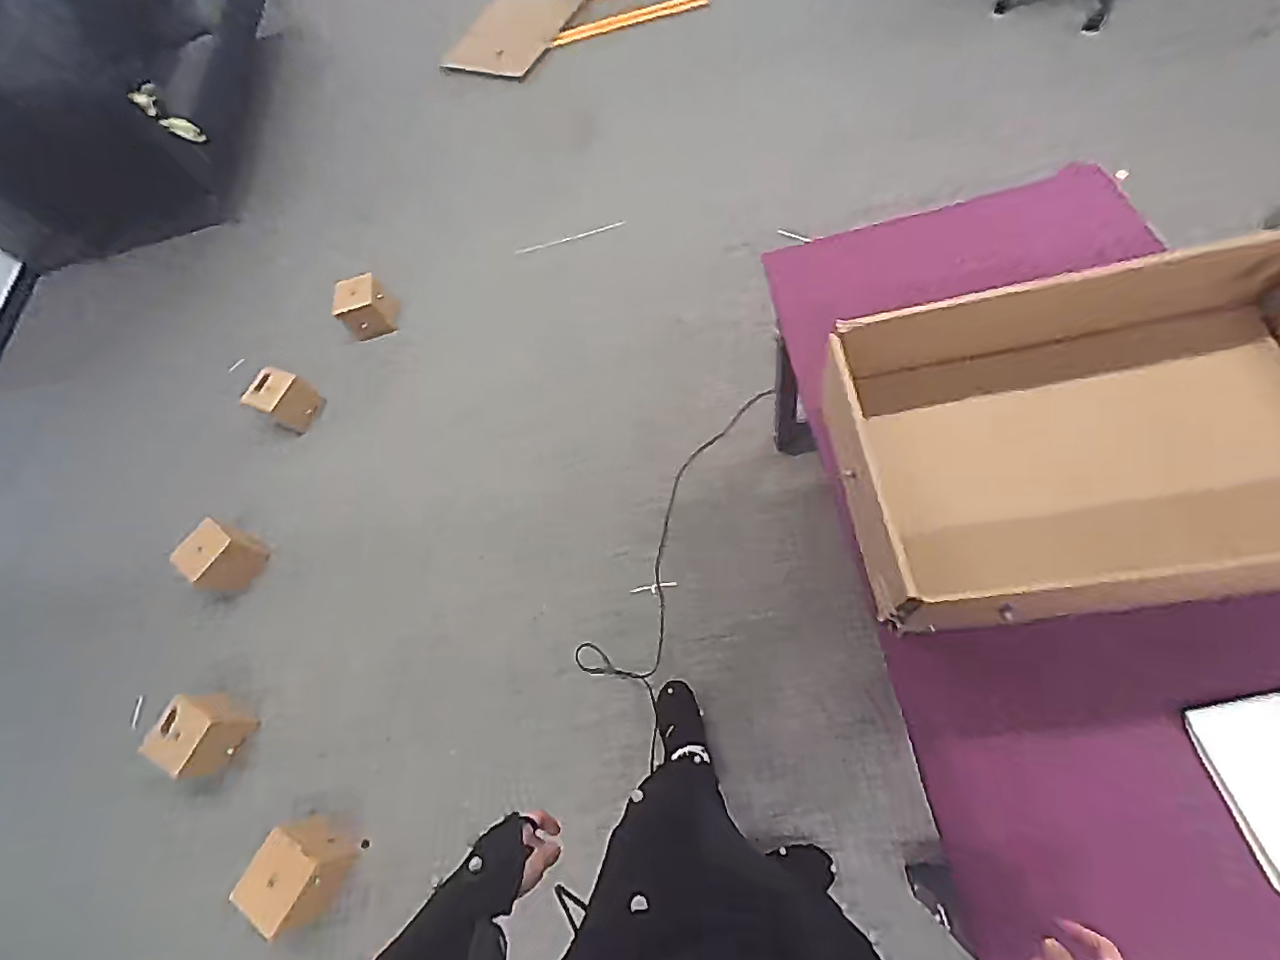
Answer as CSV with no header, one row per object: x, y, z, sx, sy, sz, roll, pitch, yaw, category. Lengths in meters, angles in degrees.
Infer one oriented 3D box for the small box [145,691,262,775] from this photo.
-1.284,0.748,1.601,0.179,0.176,0.168,19,72,20,small box

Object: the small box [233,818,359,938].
-0.871,1.007,1.385,0.168,0.176,0.179,22,71,22,small box

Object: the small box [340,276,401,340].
-1.111,-0.704,2.240,0.168,0.176,0.179,-14,63,6,small box
